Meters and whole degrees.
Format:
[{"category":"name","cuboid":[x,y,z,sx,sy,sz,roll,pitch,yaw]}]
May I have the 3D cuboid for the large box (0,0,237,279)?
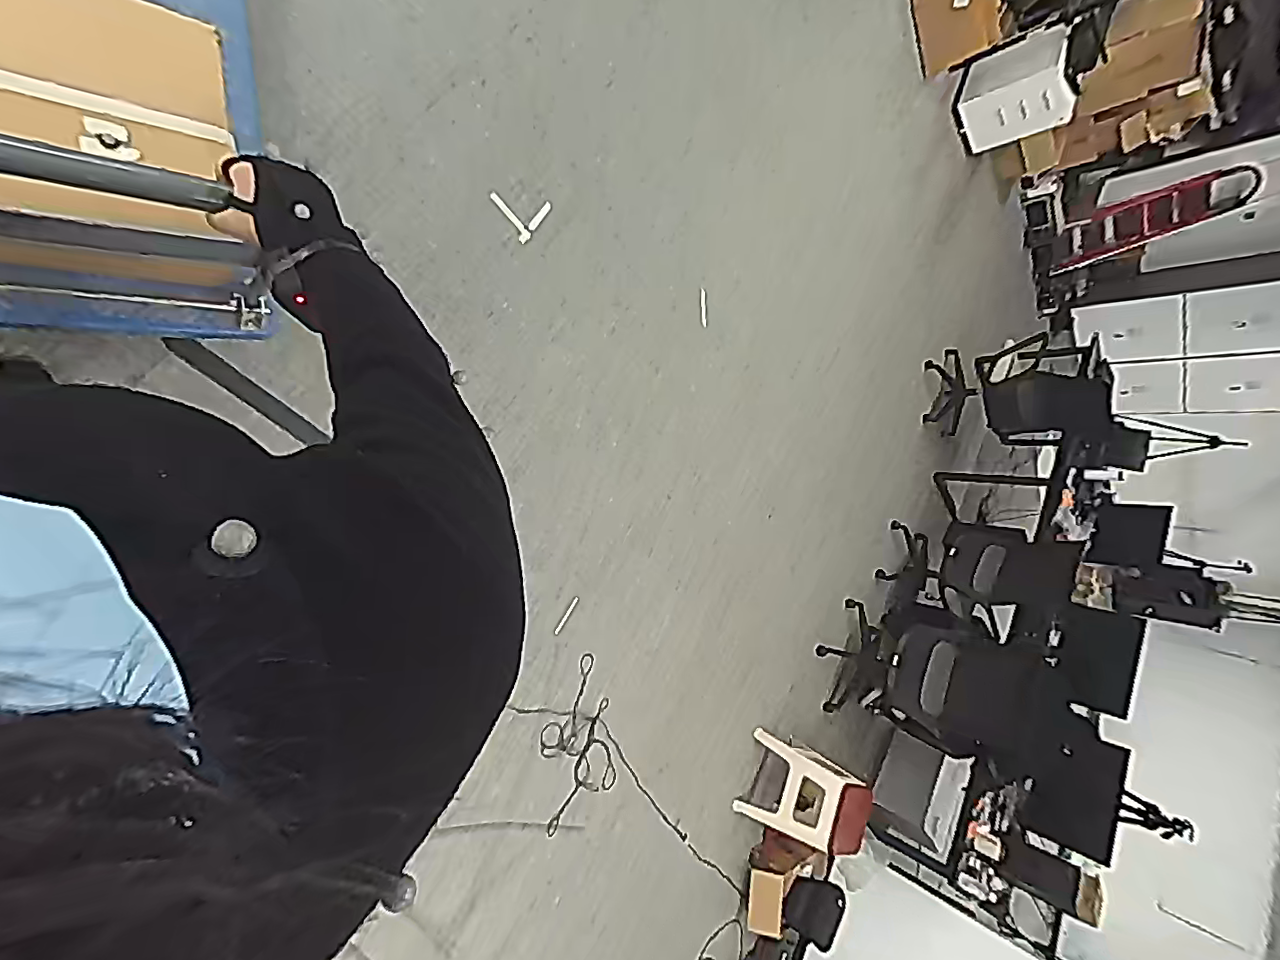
[{"category":"large box","cuboid":[-0.871,-0.505,0.783,0.408,0.320,0.320,-8,100,-43]}]
